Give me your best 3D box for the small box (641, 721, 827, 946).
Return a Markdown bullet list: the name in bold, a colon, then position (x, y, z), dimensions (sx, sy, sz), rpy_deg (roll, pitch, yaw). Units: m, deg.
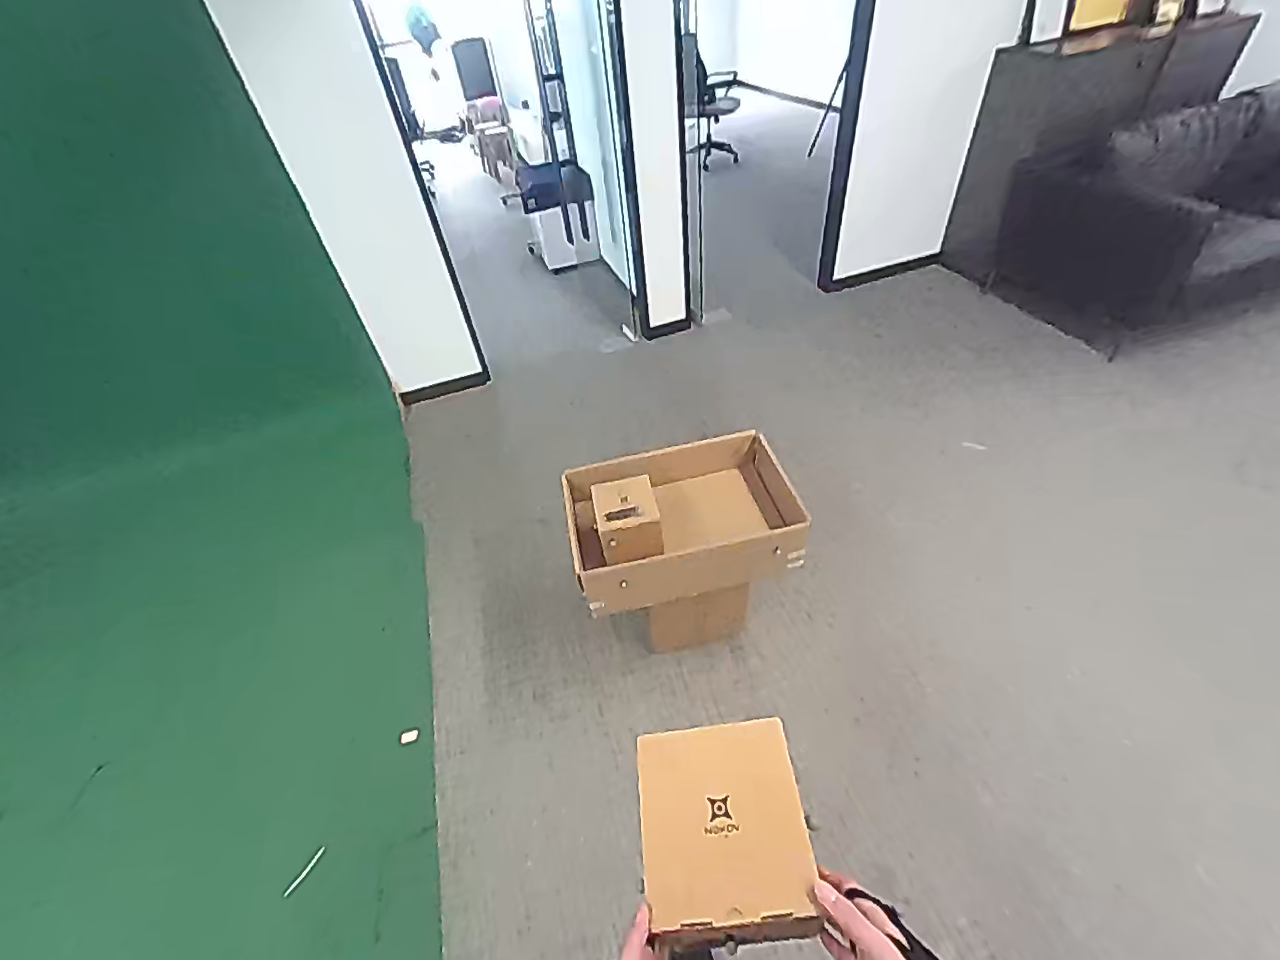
- **small box**: position (0.096, 0.398, 0.608), dimensions (0.168, 0.176, 0.179), rpy_deg (-9, 46, 4)
